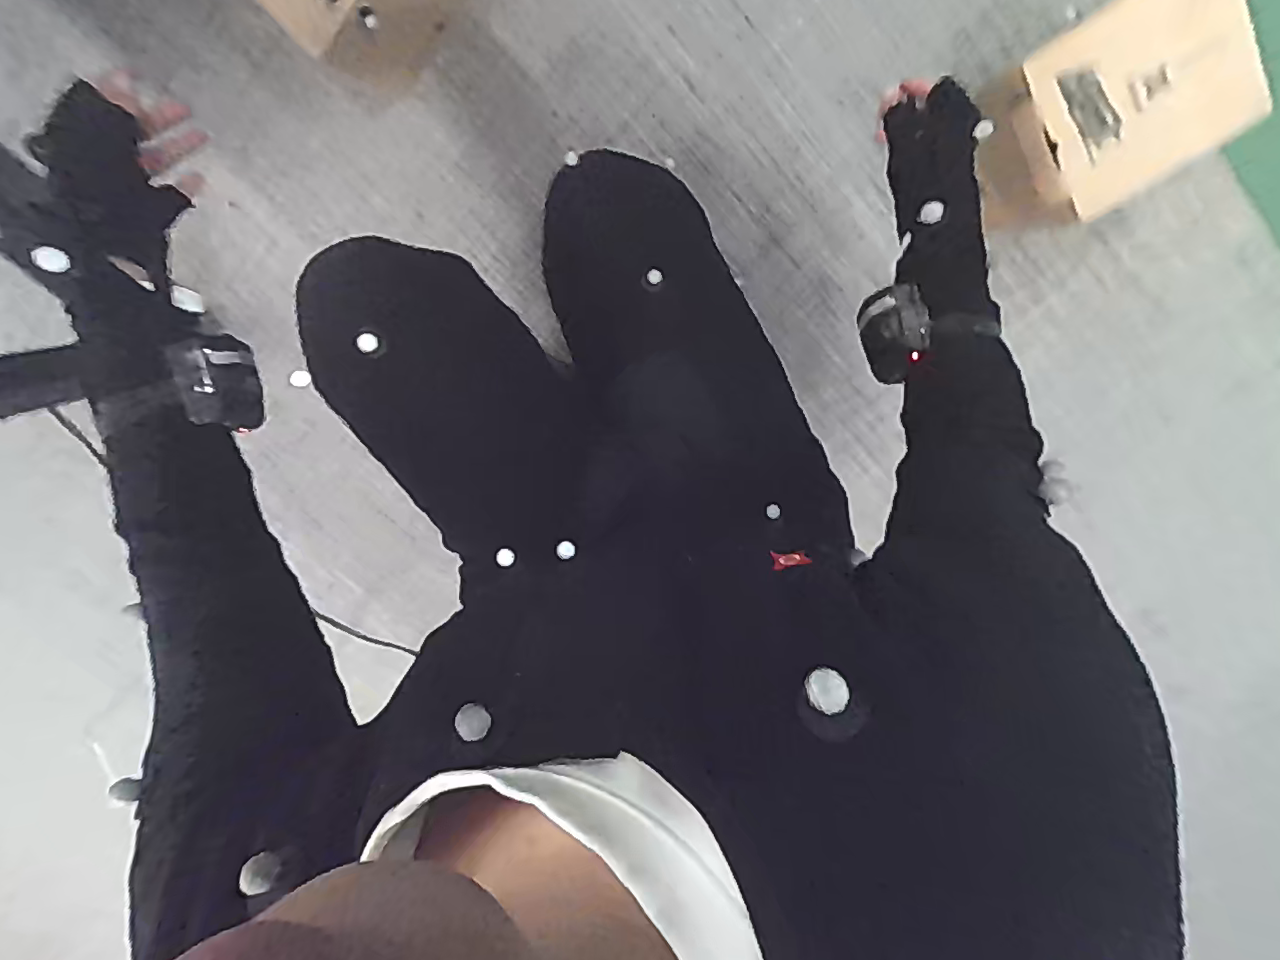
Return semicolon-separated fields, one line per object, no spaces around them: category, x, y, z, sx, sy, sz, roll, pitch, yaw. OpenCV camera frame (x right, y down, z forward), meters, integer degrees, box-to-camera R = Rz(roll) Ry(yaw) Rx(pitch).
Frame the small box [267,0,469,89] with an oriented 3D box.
small box;-0.320;-0.574;0.582;0.168;0.176;0.179;-40;102;20

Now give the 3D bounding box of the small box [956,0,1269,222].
small box;0.469;-0.398;0.572;0.179;0.176;0.168;-31;106;16
